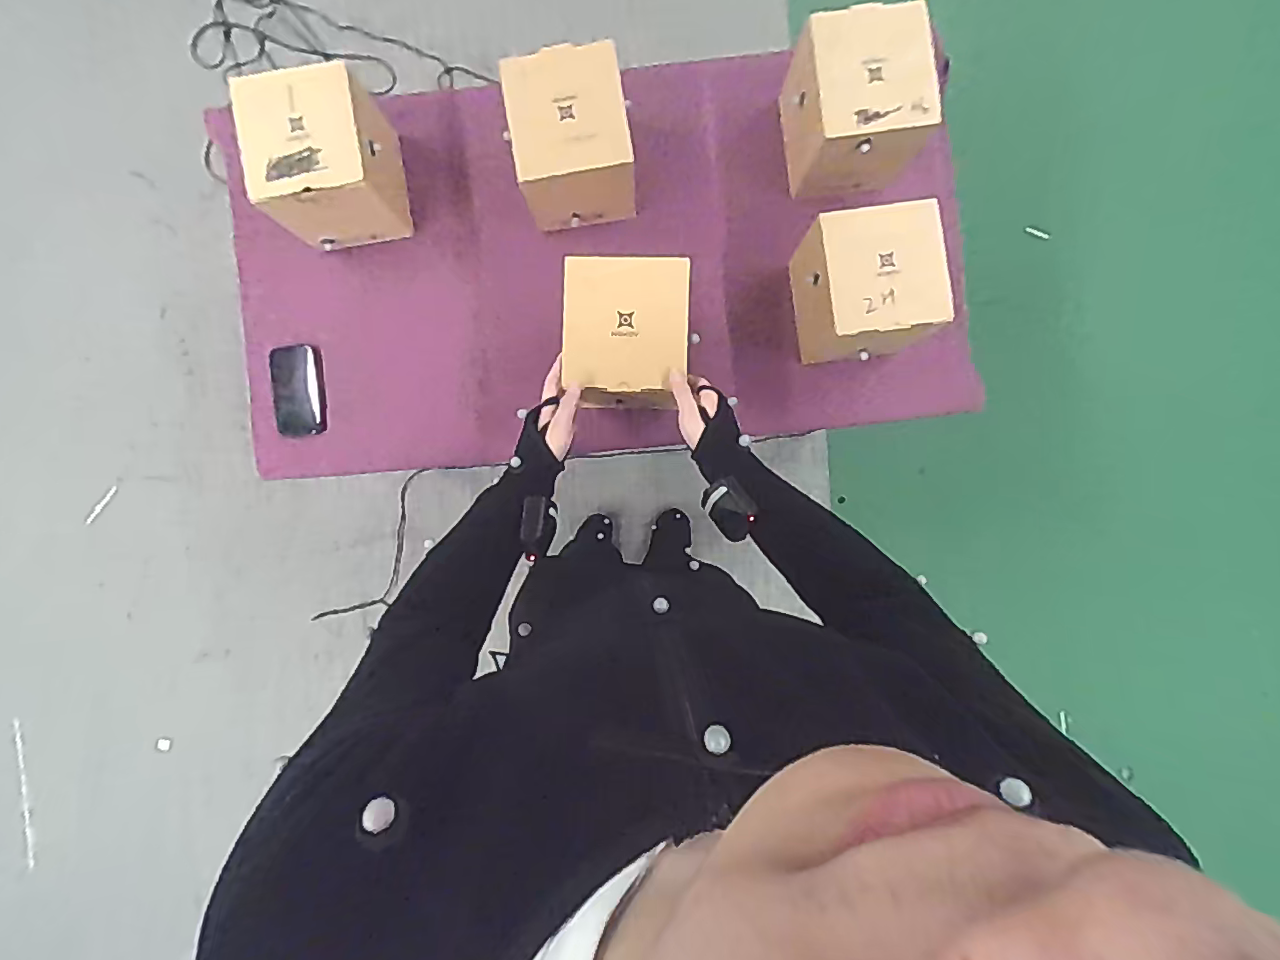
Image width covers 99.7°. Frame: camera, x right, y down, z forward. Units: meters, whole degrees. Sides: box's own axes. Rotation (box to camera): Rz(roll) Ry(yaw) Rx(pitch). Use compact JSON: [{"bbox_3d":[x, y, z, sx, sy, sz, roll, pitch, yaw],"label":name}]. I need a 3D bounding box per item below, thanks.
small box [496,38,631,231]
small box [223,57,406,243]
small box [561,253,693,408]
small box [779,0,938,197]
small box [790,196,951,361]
[{"bbox_3d":[-0.107,-0.512,0.822,0.168,0.176,0.179,-9,90,0],"label":"small box"},{"bbox_3d":[-0.477,-0.480,0.818,0.168,0.176,0.179,-10,89,-1],"label":"small box"},{"bbox_3d":[-0.015,-0.203,0.773,0.168,0.176,0.179,2,91,2],"label":"small box"},{"bbox_3d":[0.319,-0.568,0.823,0.168,0.176,0.179,-8,89,1],"label":"small box"},{"bbox_3d":[0.335,-0.294,0.819,0.168,0.176,0.179,-7,89,1],"label":"small box"}]
